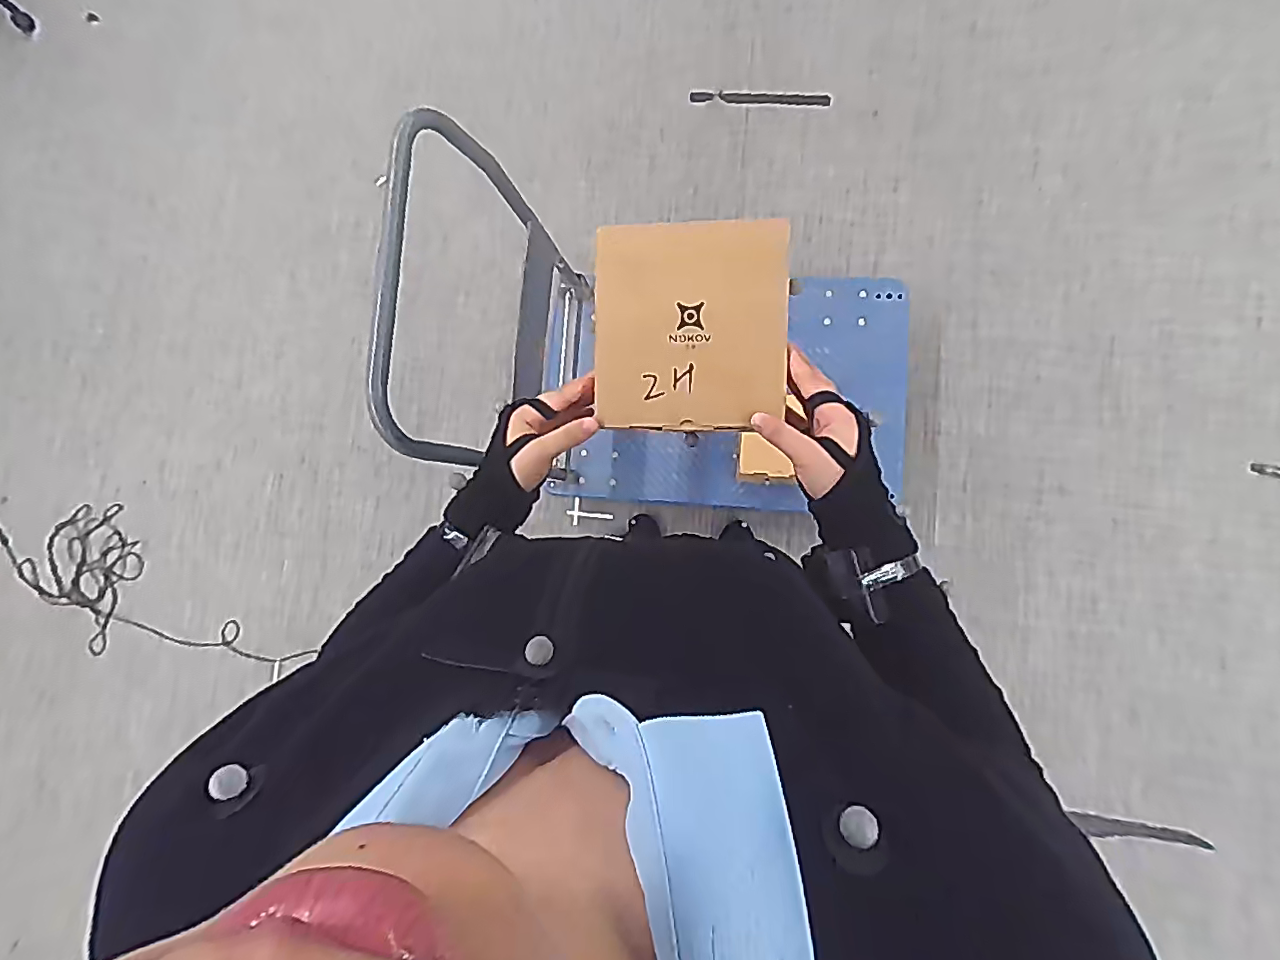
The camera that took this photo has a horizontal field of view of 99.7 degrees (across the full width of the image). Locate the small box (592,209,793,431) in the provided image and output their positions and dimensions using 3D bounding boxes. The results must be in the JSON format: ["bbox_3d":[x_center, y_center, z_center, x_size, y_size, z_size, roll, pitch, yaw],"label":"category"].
[{"bbox_3d":[0.052,-0.140,0.531,0.168,0.176,0.179,1,94,8],"label":"small box"}]

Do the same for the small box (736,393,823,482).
[{"bbox_3d":[0.307,-0.093,1.218,0.168,0.176,0.179,4,87,8],"label":"small box"}]
